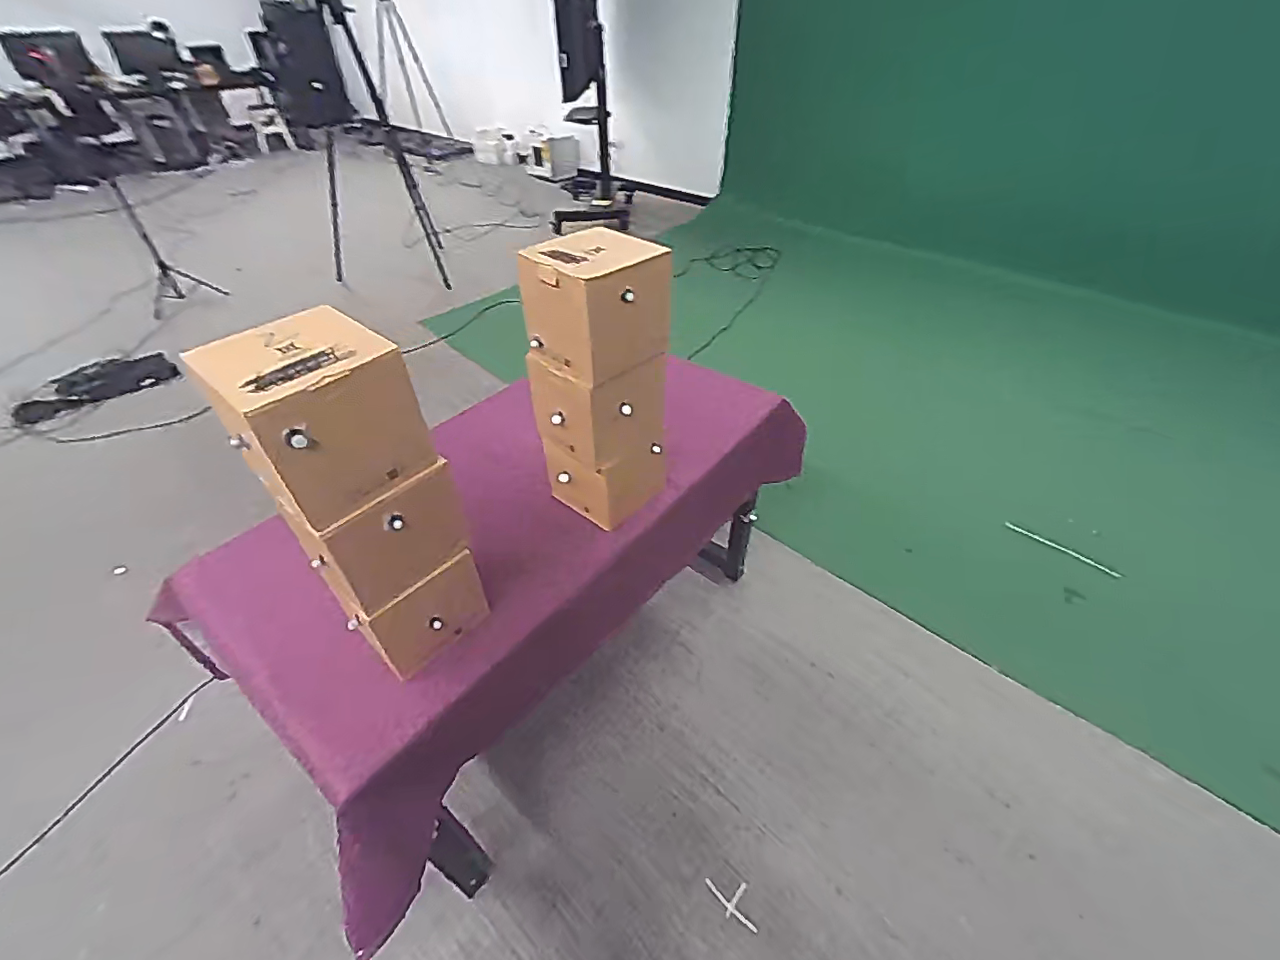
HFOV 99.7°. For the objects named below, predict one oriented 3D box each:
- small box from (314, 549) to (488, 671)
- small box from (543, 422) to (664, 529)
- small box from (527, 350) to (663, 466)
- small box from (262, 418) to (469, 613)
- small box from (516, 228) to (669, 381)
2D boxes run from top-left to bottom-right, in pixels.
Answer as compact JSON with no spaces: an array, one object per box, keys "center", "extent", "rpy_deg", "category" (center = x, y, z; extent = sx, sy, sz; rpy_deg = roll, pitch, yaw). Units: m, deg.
[{"center":[-0.366,0.172,0.856],"extent":[0.179,0.176,0.168],"rpy_deg":[31,51,31],"category":"small box"},{"center":[-0.065,-0.034,1.078],"extent":[0.168,0.176,0.179],"rpy_deg":[30,50,30],"category":"small box"},{"center":[-0.072,-0.152,0.964],"extent":[0.168,0.176,0.179],"rpy_deg":[33,53,32],"category":"small box"},{"center":[-0.366,0.049,0.749],"extent":[0.168,0.176,0.179],"rpy_deg":[30,51,29],"category":"small box"},{"center":[-0.068,-0.279,0.857],"extent":[0.168,0.176,0.179],"rpy_deg":[33,51,32],"category":"small box"}]
